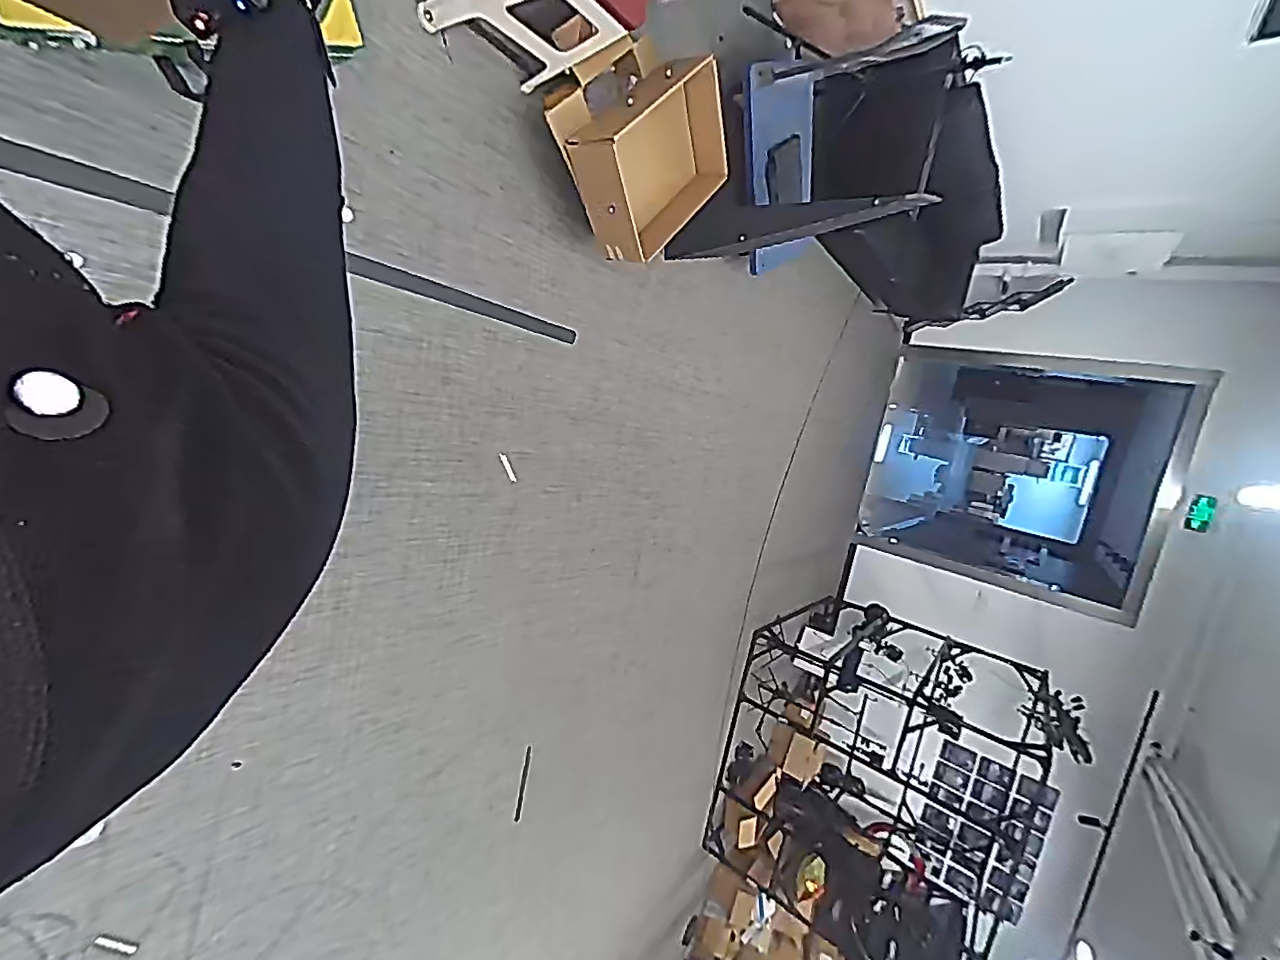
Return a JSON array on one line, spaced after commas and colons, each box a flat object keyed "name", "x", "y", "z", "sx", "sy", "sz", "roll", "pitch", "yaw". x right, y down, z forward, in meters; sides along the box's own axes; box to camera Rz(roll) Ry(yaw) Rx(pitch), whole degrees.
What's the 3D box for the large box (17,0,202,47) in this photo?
[{"name": "large box", "x": -0.518, "y": -0.552, "z": 0.307, "sx": 0.408, "sy": 0.320, "sz": 0.320, "roll": -2, "pitch": 110, "yaw": -54}]
